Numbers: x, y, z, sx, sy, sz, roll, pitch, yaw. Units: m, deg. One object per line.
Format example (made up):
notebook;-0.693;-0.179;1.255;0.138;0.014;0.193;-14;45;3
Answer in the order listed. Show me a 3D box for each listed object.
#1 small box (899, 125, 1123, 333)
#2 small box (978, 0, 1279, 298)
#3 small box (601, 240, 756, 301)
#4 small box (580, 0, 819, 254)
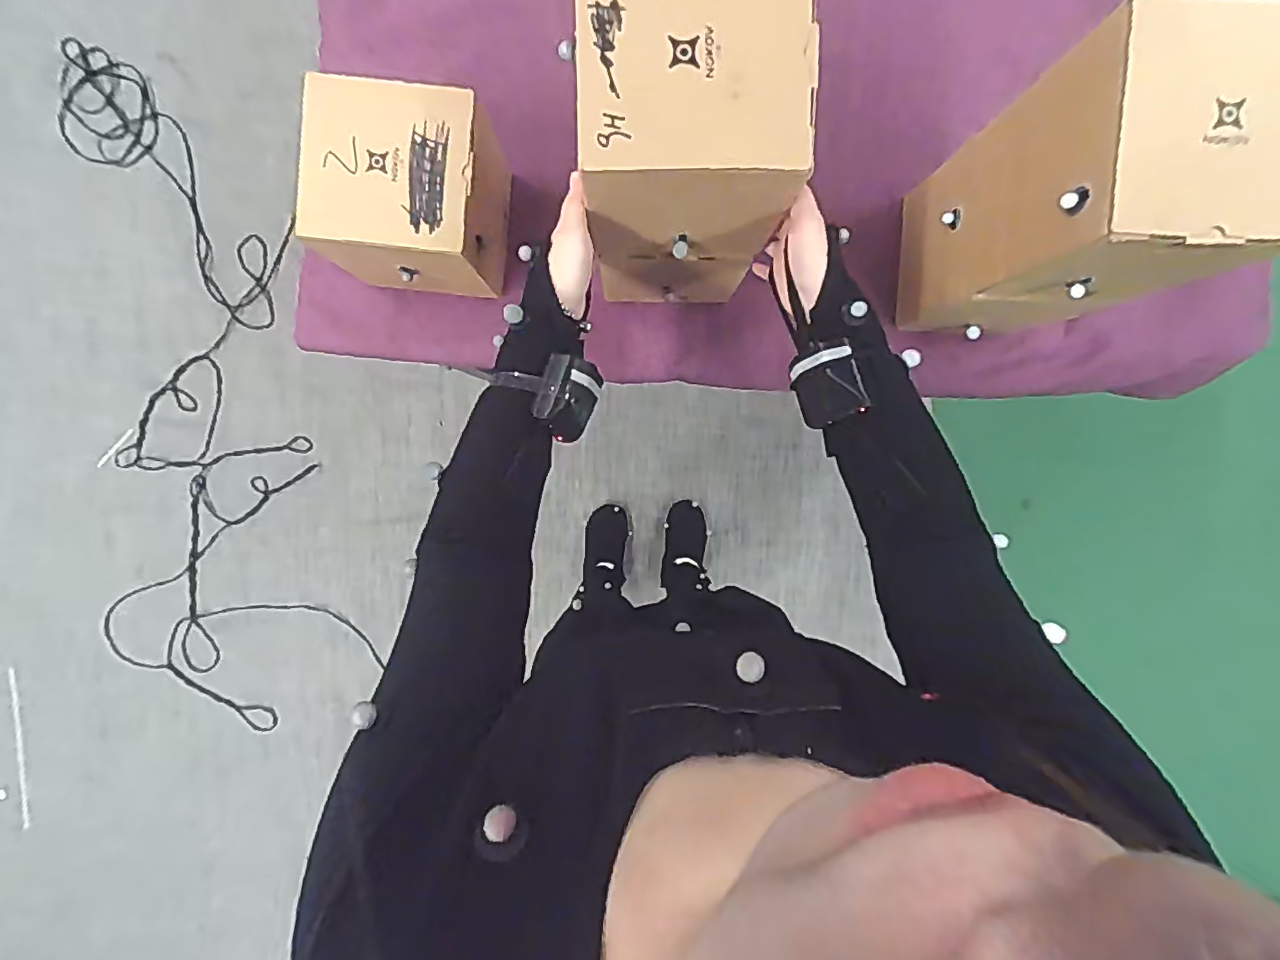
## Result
small box;0.431;-0.284;0.645;0.168;0.176;0.179;2;95;-1
small box;0.435;-0.276;0.483;0.168;0.176;0.179;1;94;-1
small box;0.038;-0.323;0.635;0.168;0.176;0.179;0;93;0
small box;0.040;-0.311;0.470;0.179;0.176;0.168;-1;91;-2
